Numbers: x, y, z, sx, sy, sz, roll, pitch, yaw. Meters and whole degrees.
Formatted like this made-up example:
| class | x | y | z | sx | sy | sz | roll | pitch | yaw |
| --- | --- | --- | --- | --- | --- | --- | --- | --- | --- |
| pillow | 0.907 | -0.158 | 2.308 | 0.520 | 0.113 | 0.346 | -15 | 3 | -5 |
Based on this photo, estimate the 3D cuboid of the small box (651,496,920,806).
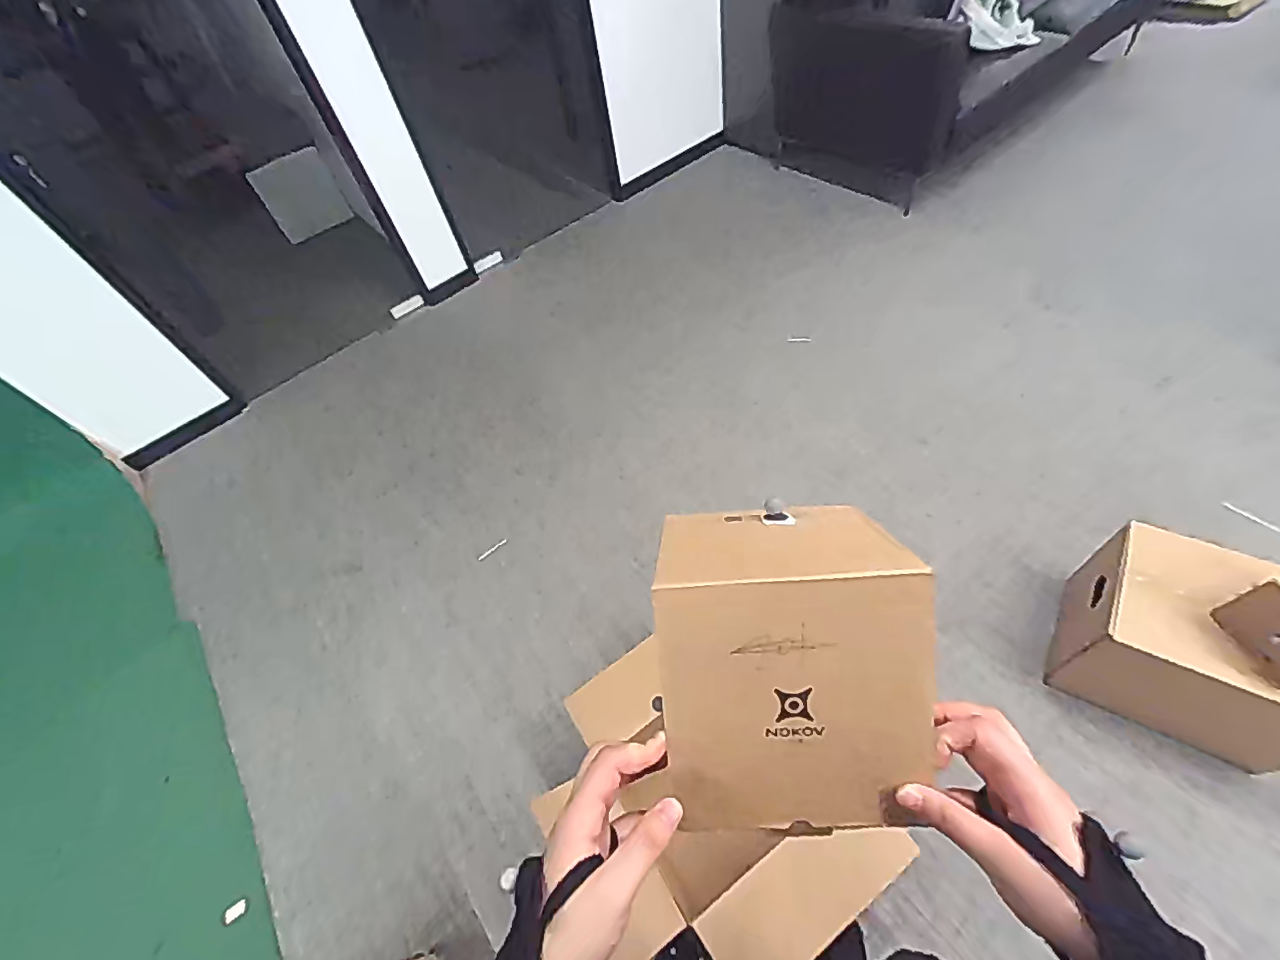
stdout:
| class | x | y | z | sx | sy | sz | roll | pitch | yaw |
| --- | --- | --- | --- | --- | --- | --- | --- | --- | --- |
| small box | 0.102 | 0.119 | 0.427 | 0.168 | 0.179 | 0.176 | -5 | 10 | 5 |

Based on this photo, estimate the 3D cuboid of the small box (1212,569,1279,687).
| class | x | y | z | sx | sy | sz | roll | pitch | yaw |
| --- | --- | --- | --- | --- | --- | --- | --- | --- | --- |
| small box | 1.201 | 0.250 | 0.966 | 0.179 | 0.176 | 0.168 | -20 | 53 | -2 |
